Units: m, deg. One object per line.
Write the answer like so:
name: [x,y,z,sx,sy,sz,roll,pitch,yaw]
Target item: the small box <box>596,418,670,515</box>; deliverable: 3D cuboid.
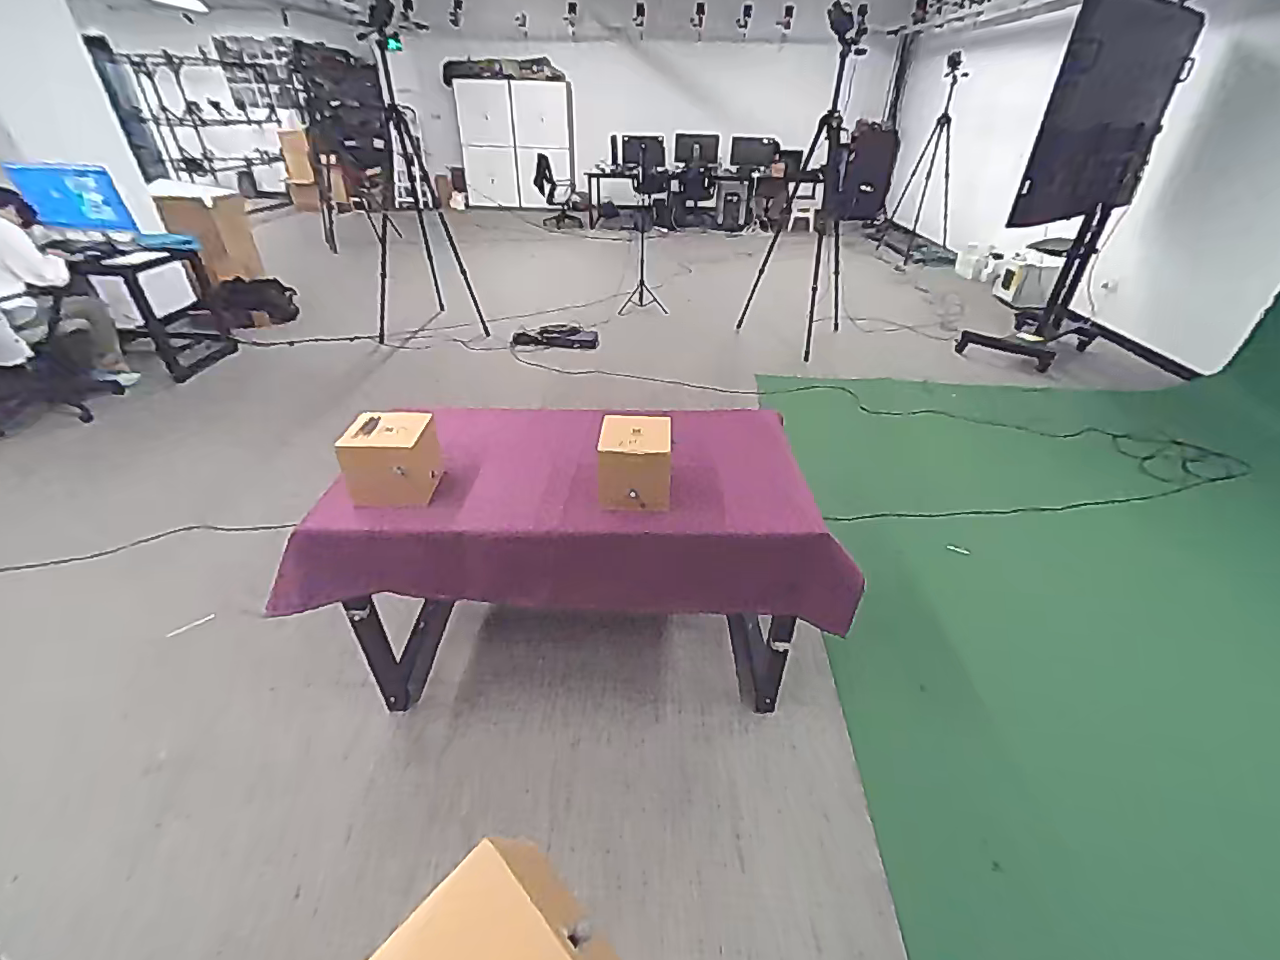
small box: [-0.015,-0.035,1.308,0.168,0.176,0.179,2,35,2]
